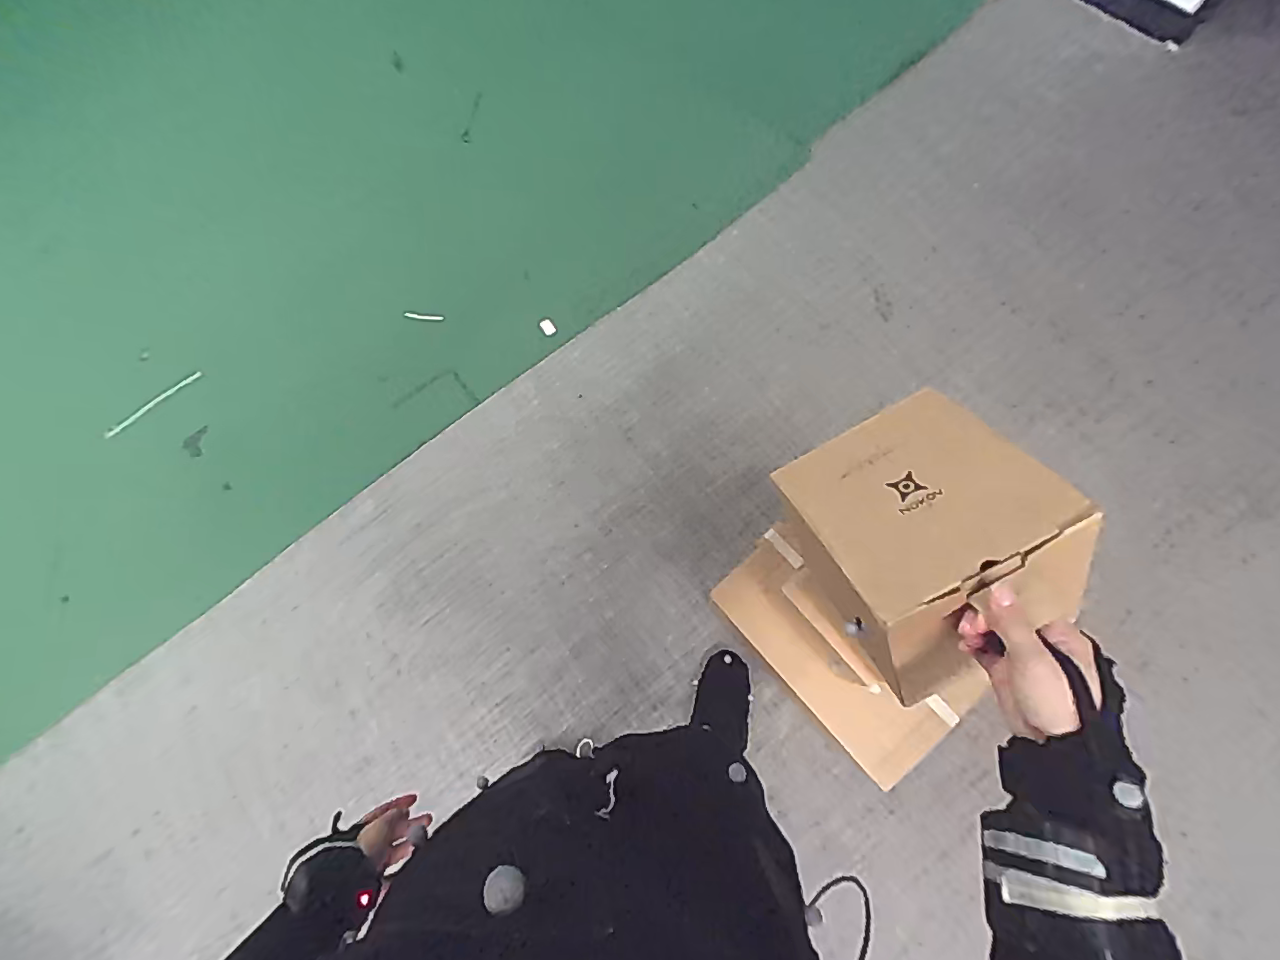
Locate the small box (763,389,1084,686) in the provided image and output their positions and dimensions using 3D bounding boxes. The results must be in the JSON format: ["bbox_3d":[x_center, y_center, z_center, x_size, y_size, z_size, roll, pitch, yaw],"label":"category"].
[{"bbox_3d":[0.240,0.059,0.482,0.168,0.176,0.179,-30,41,4],"label":"small box"}]

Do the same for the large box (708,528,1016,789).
[{"bbox_3d":[0.379,0.286,1.049,0.320,0.320,0.408,-41,74,-5],"label":"large box"}]
